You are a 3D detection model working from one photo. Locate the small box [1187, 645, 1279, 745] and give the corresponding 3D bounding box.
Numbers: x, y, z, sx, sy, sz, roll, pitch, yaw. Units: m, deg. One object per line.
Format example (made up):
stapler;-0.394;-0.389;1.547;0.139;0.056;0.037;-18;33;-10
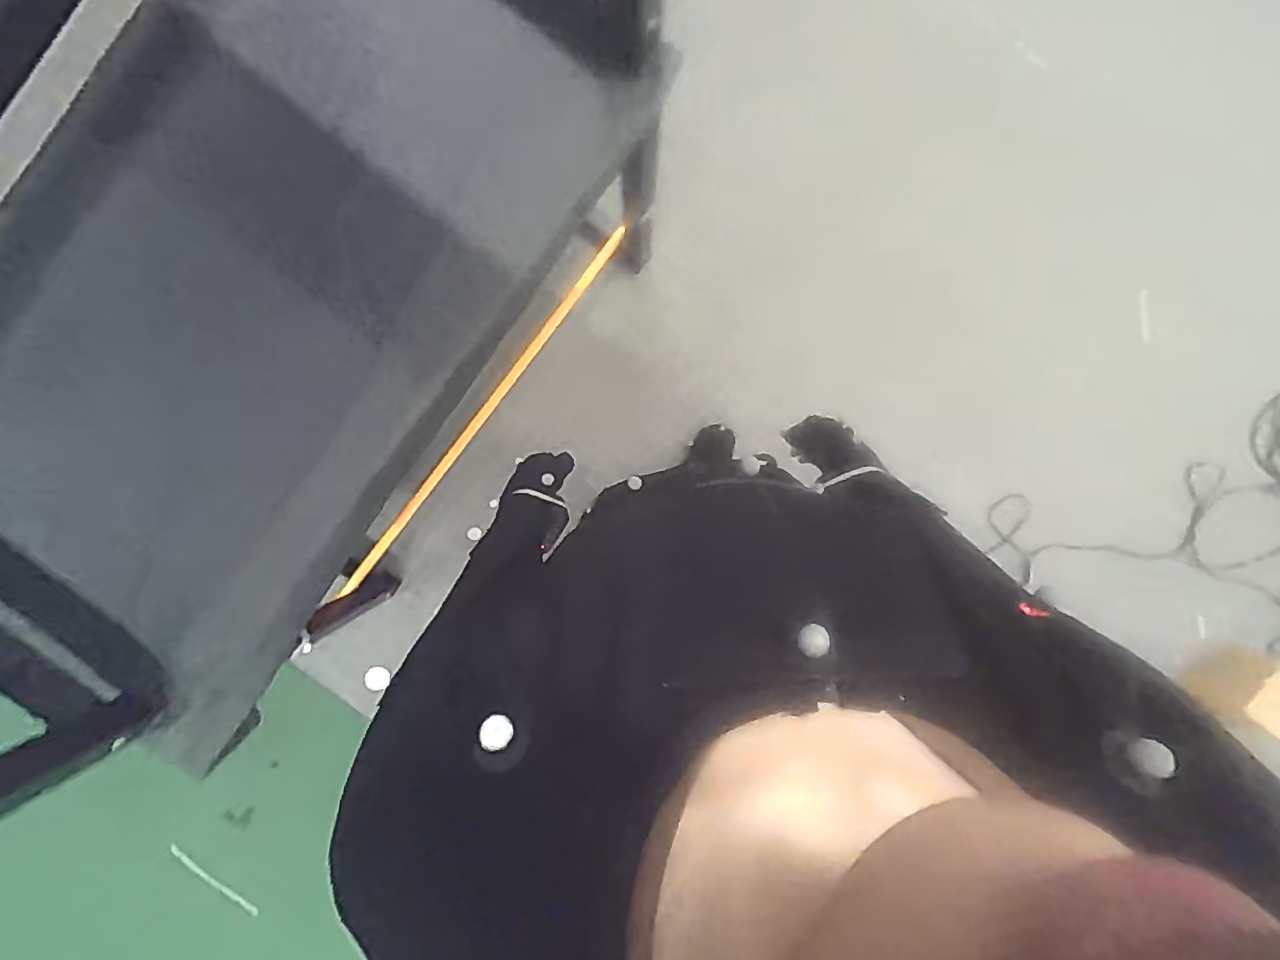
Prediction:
small box;1.634;0.567;1.424;0.179;0.176;0.168;37;92;-1
